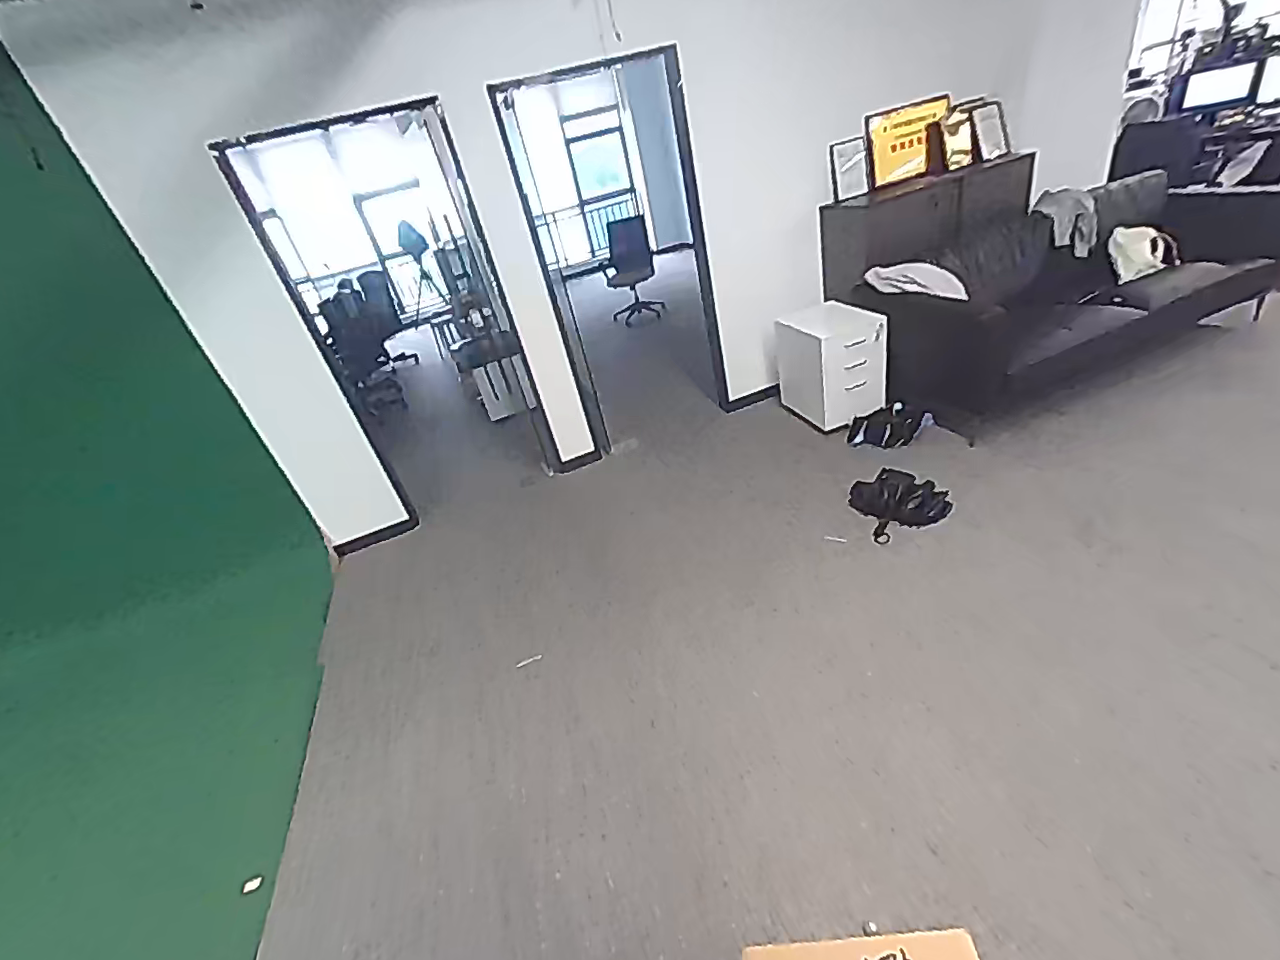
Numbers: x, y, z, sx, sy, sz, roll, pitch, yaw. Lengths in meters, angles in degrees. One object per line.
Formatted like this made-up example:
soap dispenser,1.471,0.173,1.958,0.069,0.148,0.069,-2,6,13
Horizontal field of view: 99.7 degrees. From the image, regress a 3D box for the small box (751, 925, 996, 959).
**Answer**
small box,0.181,0.440,0.365,0.168,0.176,0.179,-12,35,8
